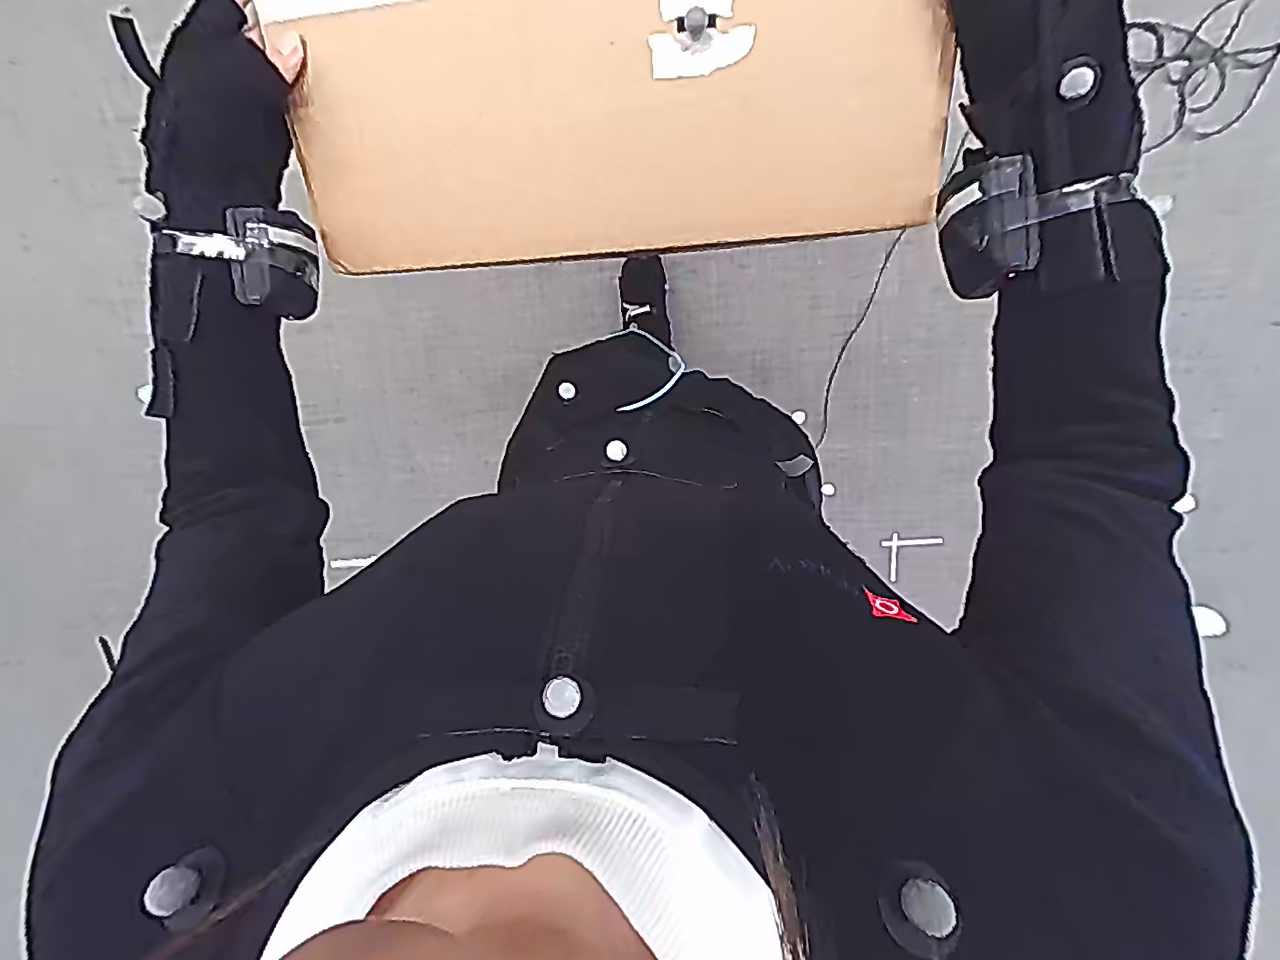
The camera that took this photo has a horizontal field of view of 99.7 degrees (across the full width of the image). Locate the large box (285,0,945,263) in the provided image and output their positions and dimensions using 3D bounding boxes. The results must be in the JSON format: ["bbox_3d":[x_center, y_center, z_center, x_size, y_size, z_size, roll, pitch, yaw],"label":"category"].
[{"bbox_3d":[-0.011,-0.367,0.446,0.408,0.320,0.320,-1,113,9],"label":"large box"}]

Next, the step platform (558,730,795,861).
[{"bbox_3d":[0.104,0.927,1.598,0.684,0.204,0.286,-3,104,8],"label":"step platform"}]
